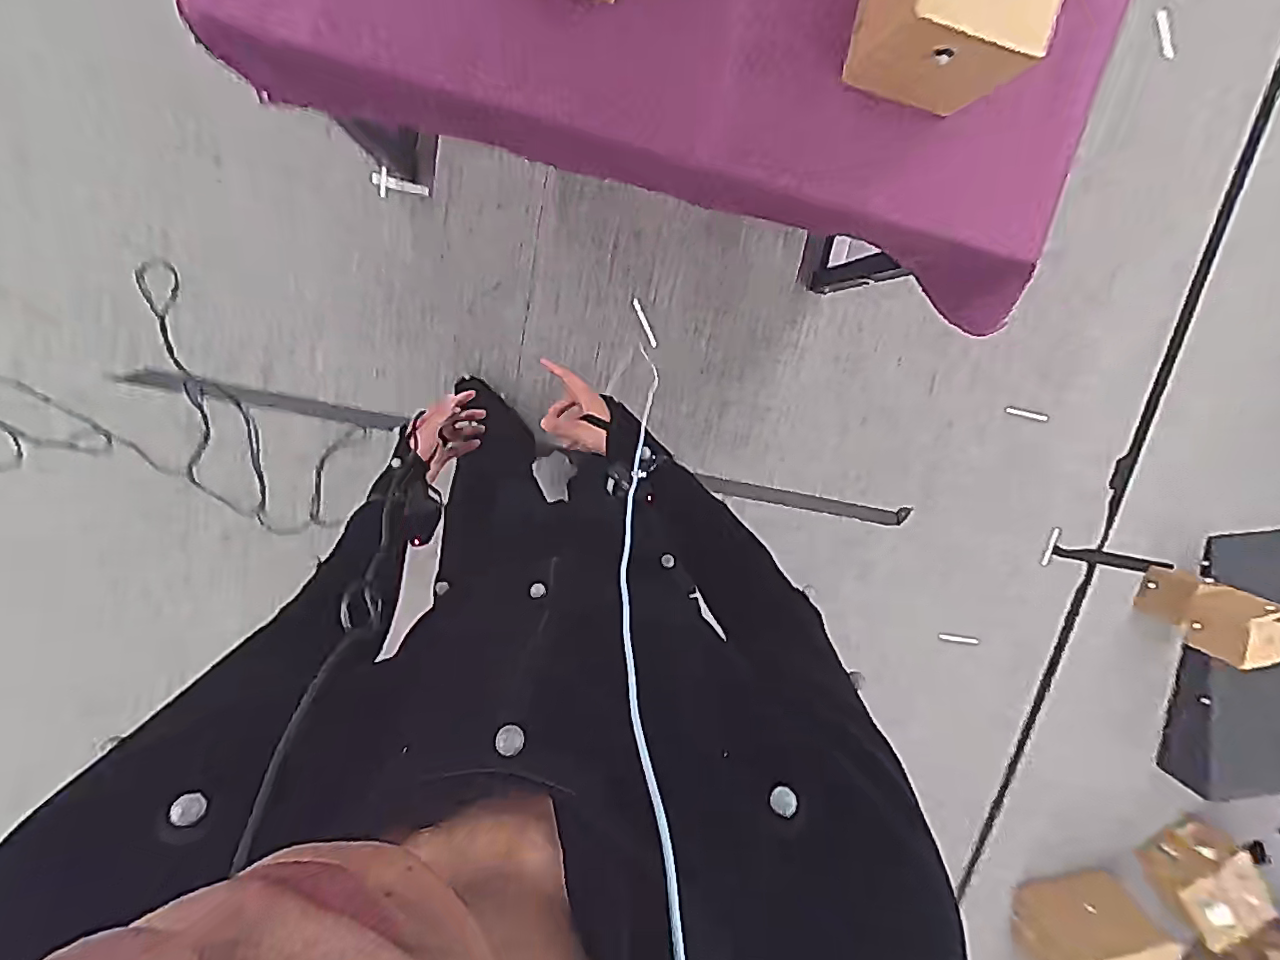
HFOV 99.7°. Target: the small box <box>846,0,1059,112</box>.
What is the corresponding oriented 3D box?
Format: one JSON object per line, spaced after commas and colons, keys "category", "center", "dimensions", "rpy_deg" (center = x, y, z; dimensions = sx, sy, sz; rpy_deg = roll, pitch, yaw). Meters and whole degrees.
{"category": "small box", "center": [0.391, -0.602, 0.680], "dimensions": [0.179, 0.176, 0.168], "rpy_deg": [9, 102, -10]}
